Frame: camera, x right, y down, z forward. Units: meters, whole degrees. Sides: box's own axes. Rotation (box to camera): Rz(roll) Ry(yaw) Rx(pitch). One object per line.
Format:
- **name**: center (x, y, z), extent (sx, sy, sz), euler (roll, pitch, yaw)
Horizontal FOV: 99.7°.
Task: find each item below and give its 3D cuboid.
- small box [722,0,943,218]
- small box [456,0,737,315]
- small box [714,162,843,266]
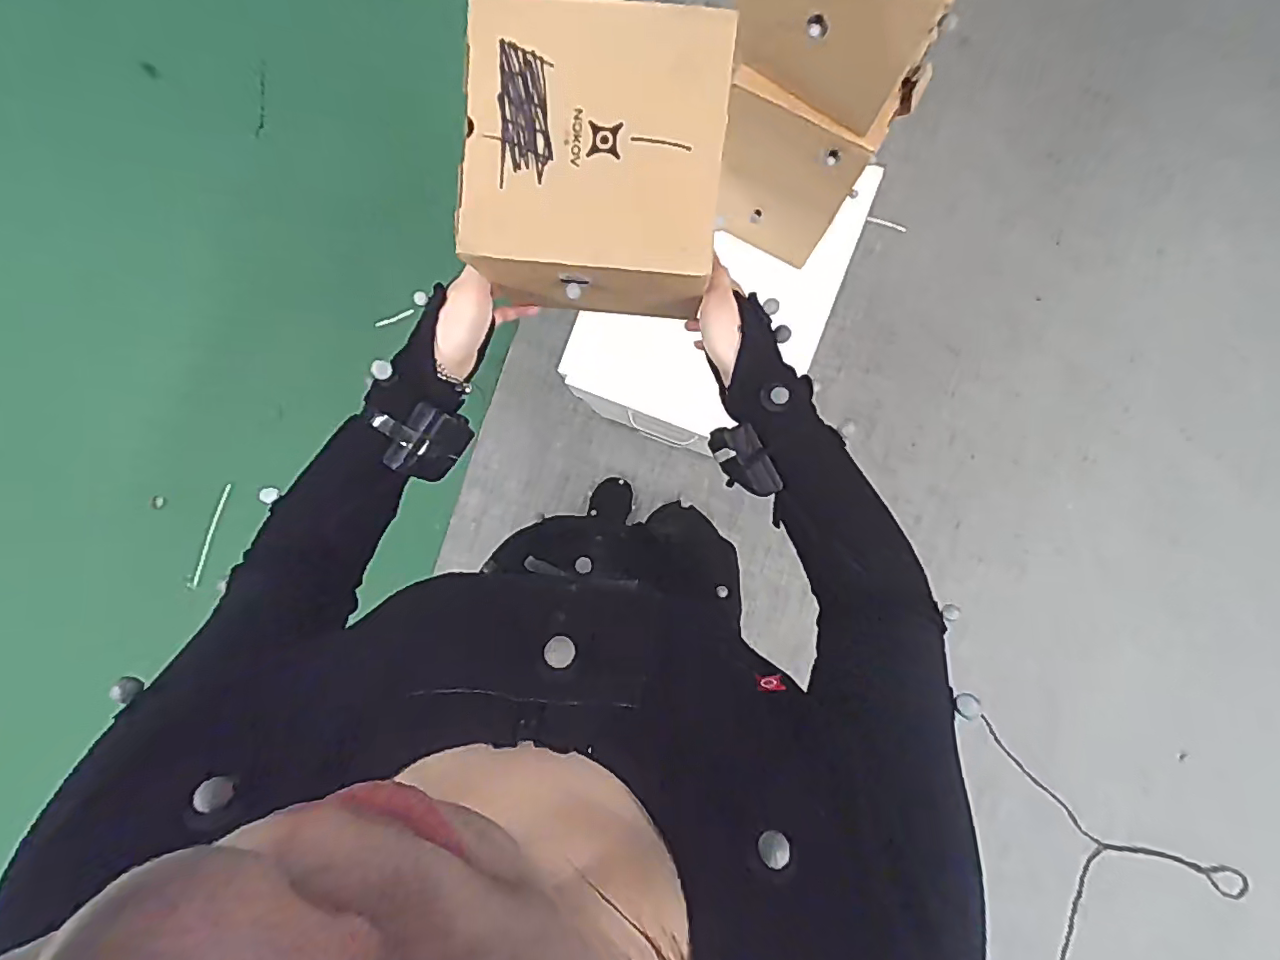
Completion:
- **small box**: center (0.215, -0.458, 0.661), extent (0.179, 0.176, 0.168), euler (27, 91, 2)
- **small box**: center (-0.029, -0.236, 0.436), extent (0.179, 0.176, 0.168), euler (5, 97, 1)
- **small box**: center (0.226, -0.458, 0.823), extent (0.179, 0.176, 0.168), euler (28, 91, 3)
